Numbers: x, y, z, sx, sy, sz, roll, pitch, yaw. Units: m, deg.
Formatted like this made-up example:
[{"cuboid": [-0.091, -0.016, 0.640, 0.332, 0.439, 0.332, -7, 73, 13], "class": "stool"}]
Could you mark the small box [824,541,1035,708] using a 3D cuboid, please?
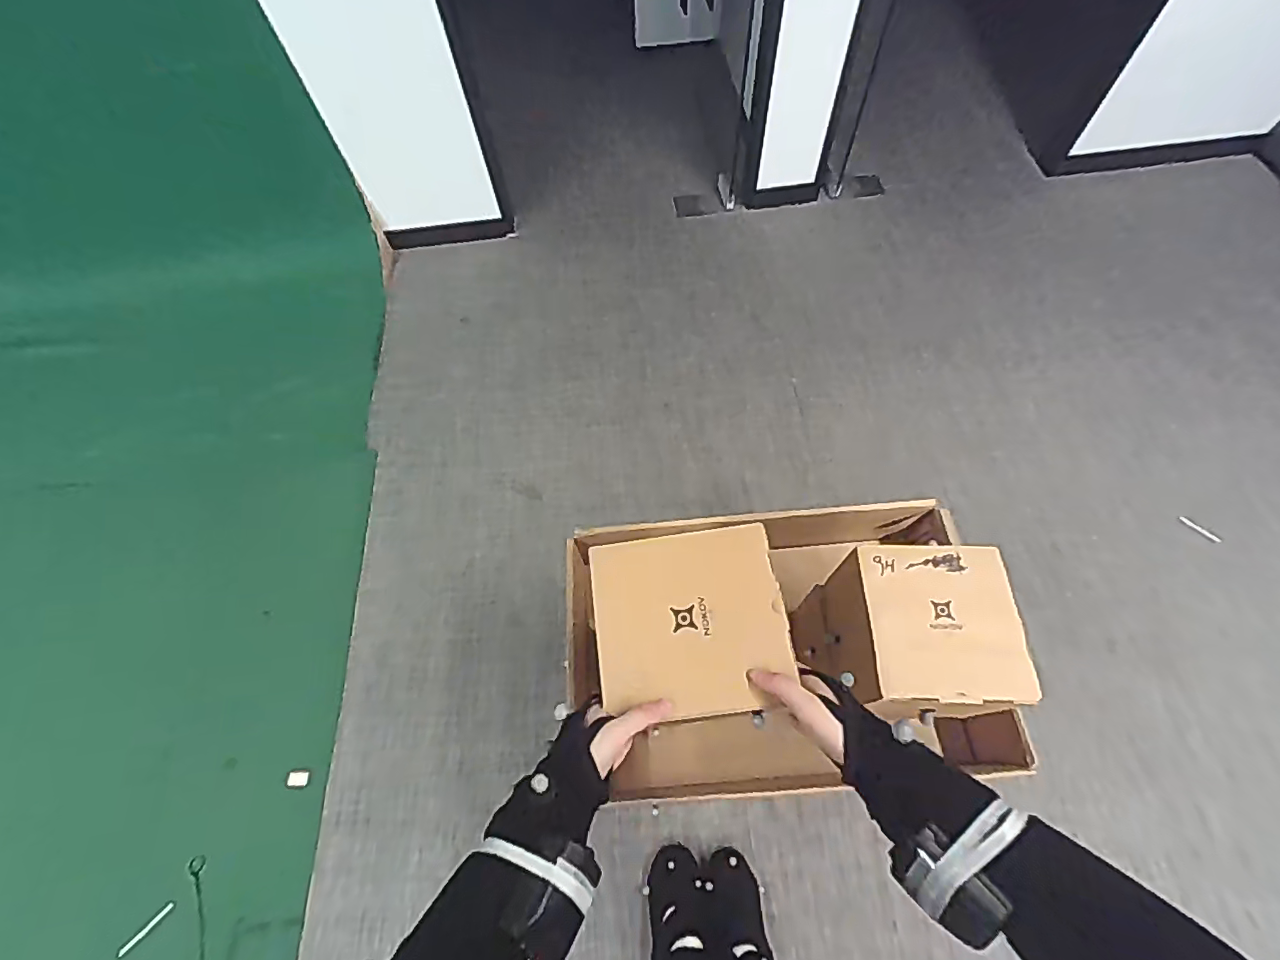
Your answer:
[{"cuboid": [0.339, 0.186, 0.674, 0.168, 0.176, 0.179, 0, 64, 4], "class": "small box"}]

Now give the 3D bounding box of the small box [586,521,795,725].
[{"cuboid": [0.049, 0.160, 0.574, 0.179, 0.176, 0.168, -9, 64, 1], "class": "small box"}]
